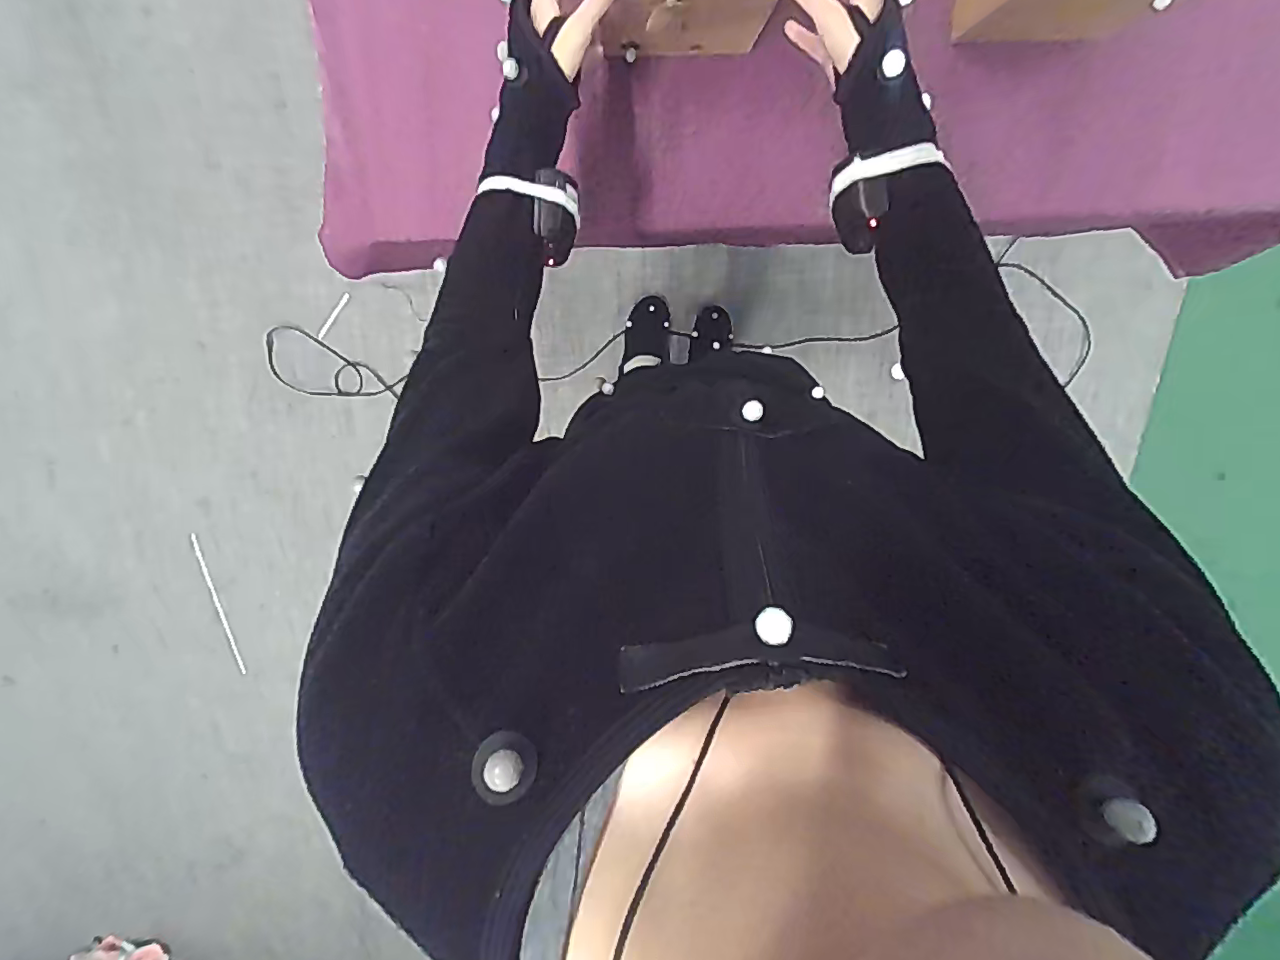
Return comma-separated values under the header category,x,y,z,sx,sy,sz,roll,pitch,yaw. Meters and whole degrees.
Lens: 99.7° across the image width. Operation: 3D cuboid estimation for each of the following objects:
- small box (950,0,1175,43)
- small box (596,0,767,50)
category,x,y,z,sx,sy,sz,roll,pitch,yaw
small box,0.431,-0.538,0.500,0.179,0.176,0.168,-1,110,-2
small box,0.039,-0.522,0.491,0.168,0.176,0.179,-3,110,-2
